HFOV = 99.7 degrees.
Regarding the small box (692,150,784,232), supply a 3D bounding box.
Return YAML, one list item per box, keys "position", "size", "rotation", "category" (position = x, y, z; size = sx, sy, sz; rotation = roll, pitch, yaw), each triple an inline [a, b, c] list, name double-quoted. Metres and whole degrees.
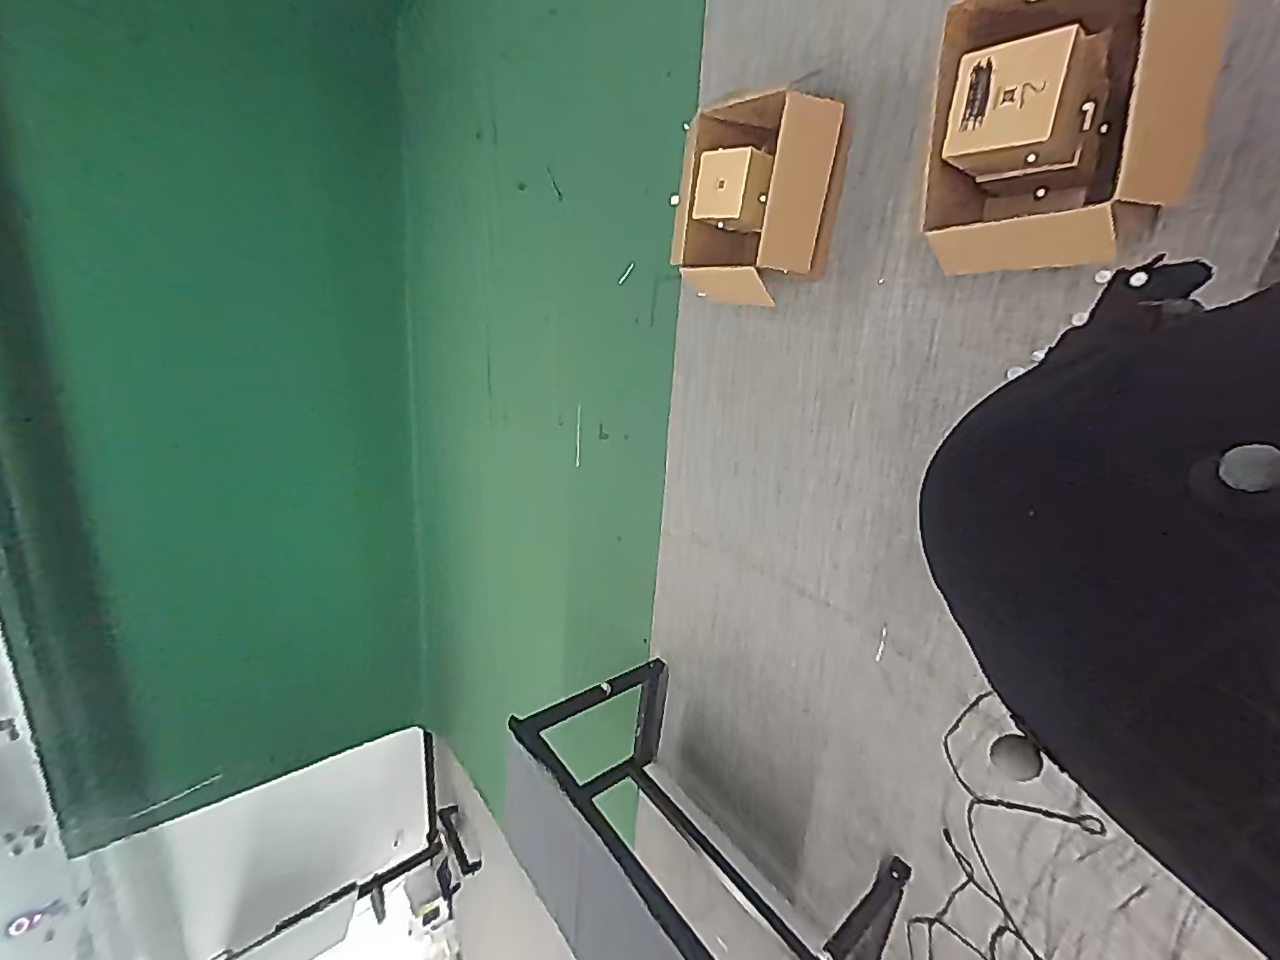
- position: [0.272, -0.790, 1.491]
  size: [0.179, 0.176, 0.168]
  rotation: [26, 116, 44]
  category: "small box"
